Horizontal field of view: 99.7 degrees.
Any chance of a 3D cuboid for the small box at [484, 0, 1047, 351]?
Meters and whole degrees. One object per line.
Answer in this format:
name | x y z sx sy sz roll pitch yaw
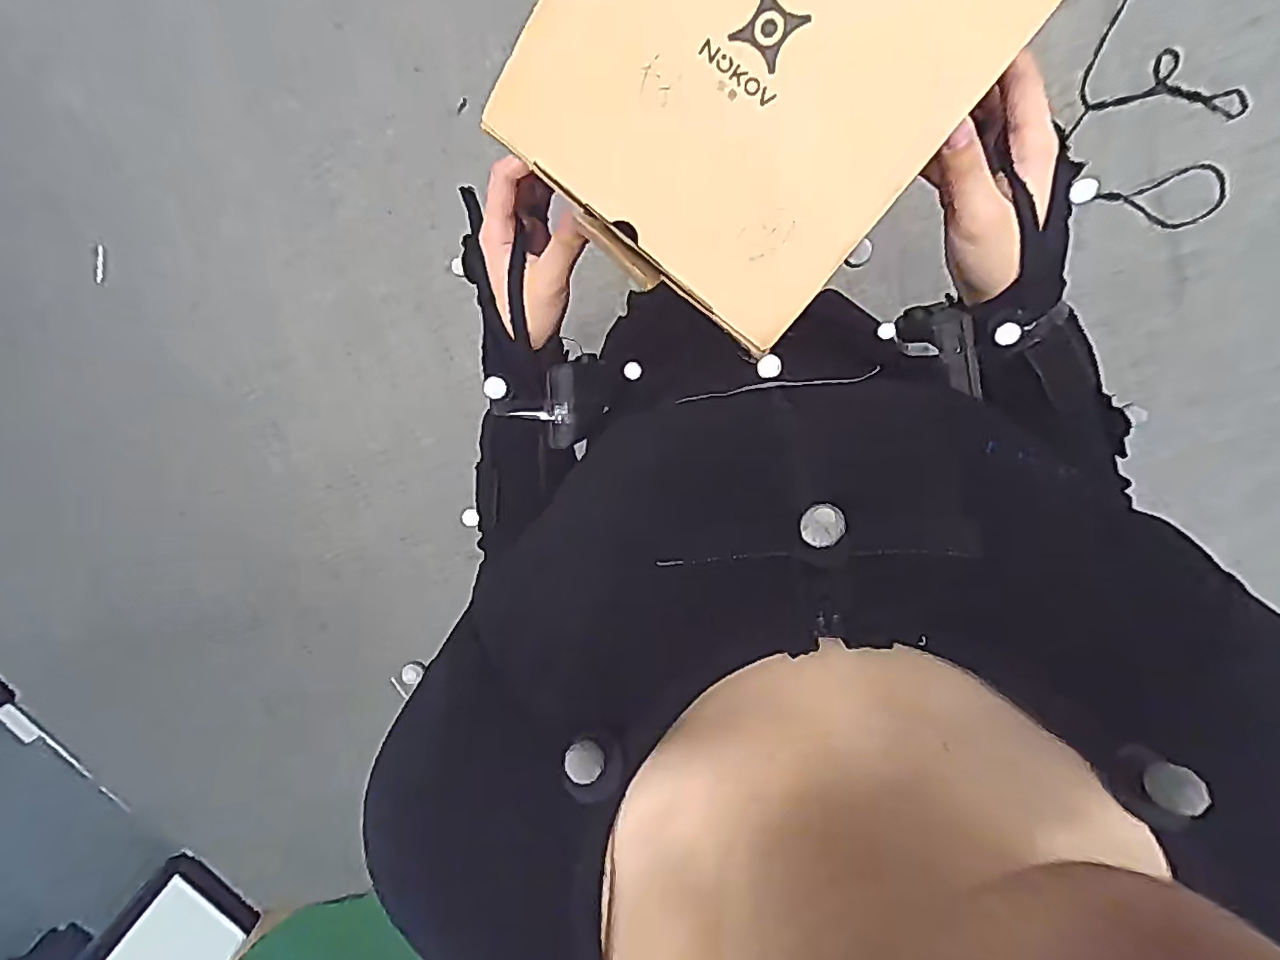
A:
small box | 0.055 -0.192 0.299 0.168 0.176 0.179 39 108 -2
